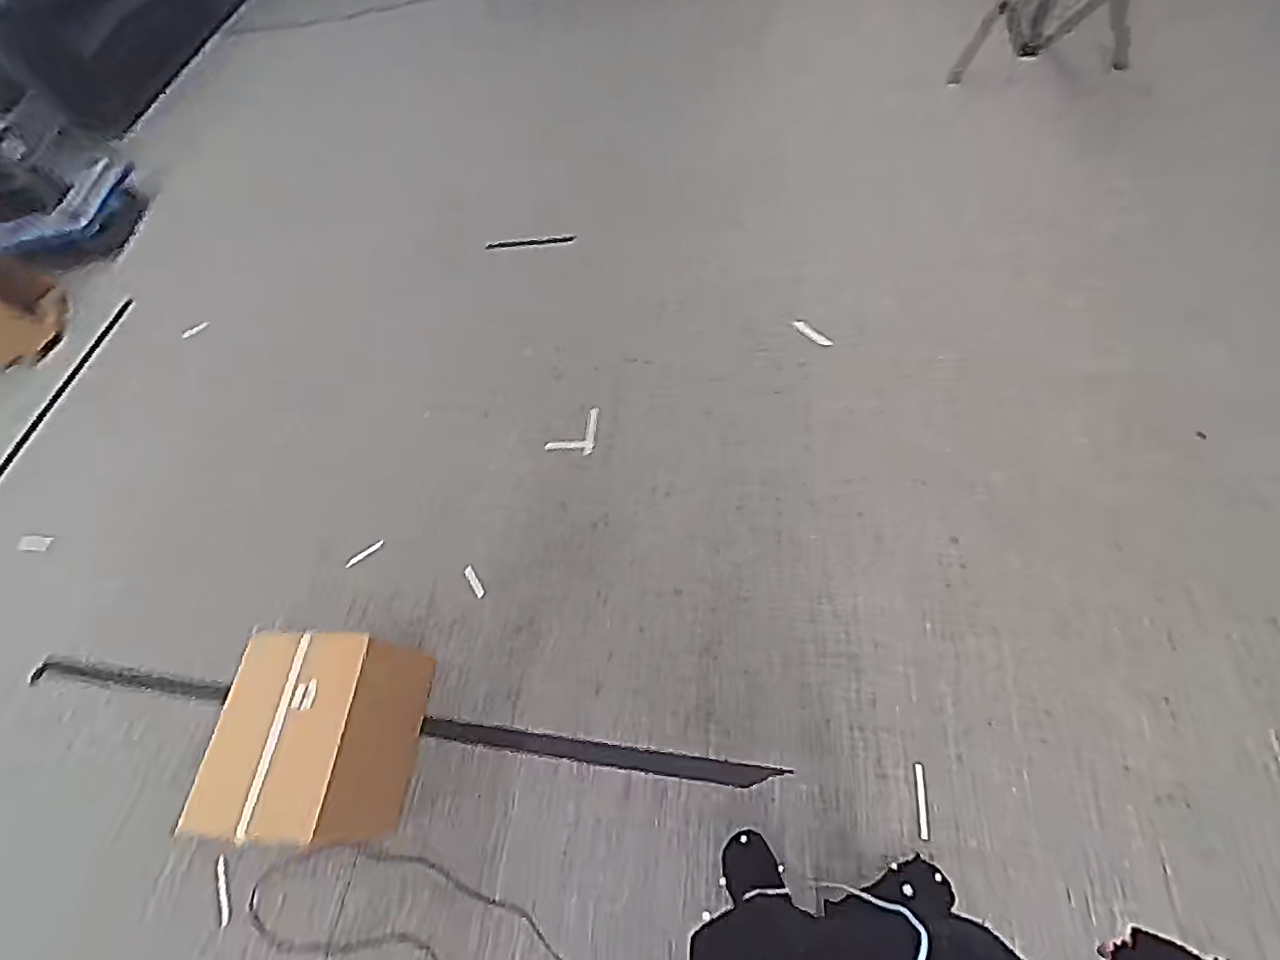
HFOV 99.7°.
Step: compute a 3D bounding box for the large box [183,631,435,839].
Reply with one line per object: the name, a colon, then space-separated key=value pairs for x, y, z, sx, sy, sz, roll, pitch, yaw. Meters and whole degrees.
large box: x=-0.745 y=0.604 z=1.291 sx=0.320 sy=0.320 sz=0.408 roll=-1 pitch=60 yaw=10
